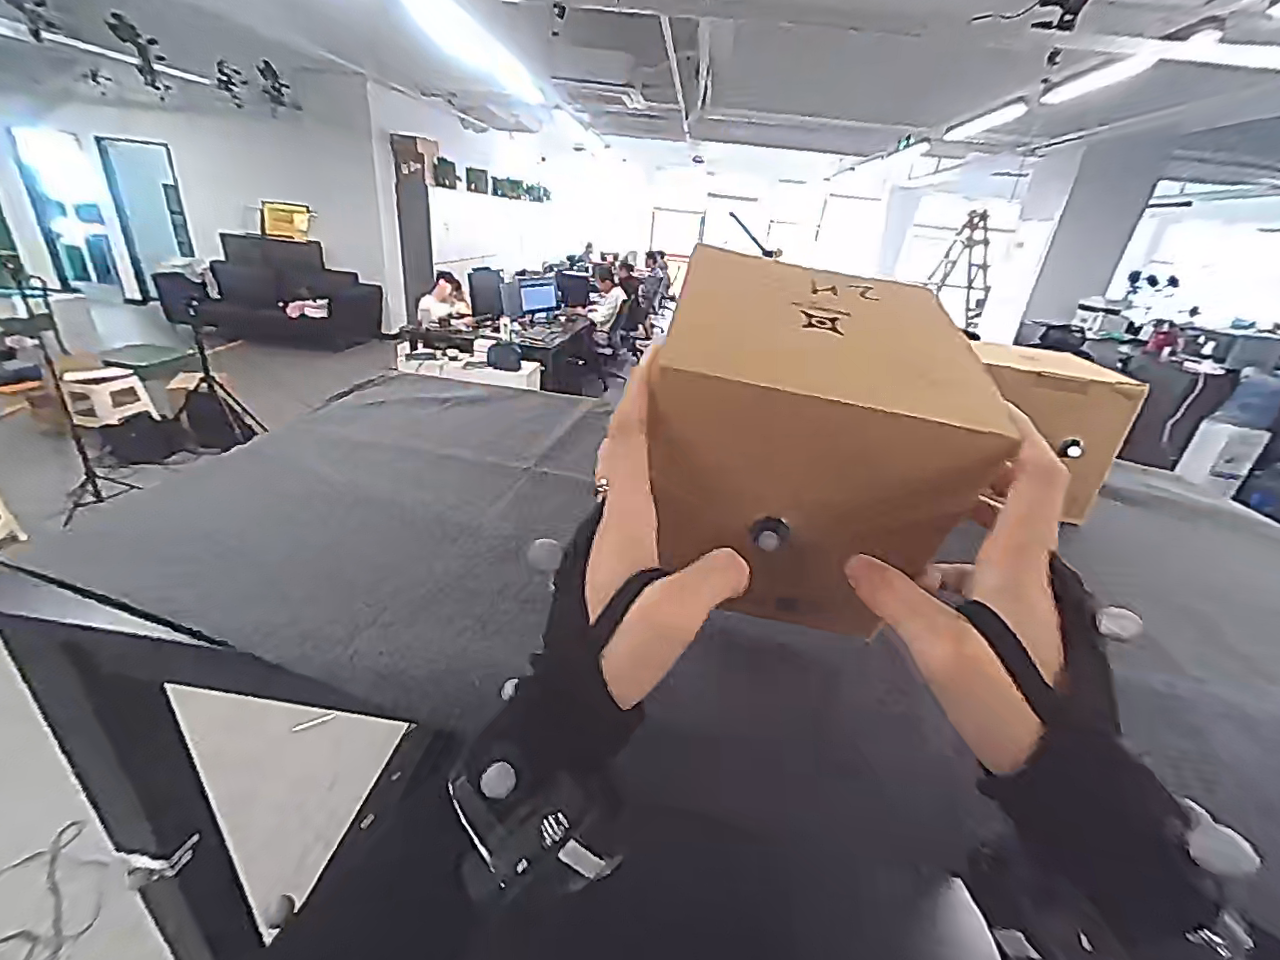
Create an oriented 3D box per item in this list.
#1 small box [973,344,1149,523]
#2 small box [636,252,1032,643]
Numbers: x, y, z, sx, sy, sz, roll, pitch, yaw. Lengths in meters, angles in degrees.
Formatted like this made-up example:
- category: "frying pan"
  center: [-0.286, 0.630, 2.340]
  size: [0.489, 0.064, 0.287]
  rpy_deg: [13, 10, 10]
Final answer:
- category: "small box"
  center: [0.447, -0.065, 0.665]
  size: [0.168, 0.176, 0.179]
  rpy_deg: [11, 25, 8]
- category: "small box"
  center: [0.096, -0.022, 0.350]
  size: [0.168, 0.176, 0.179]
  rpy_deg: [12, 41, 3]
